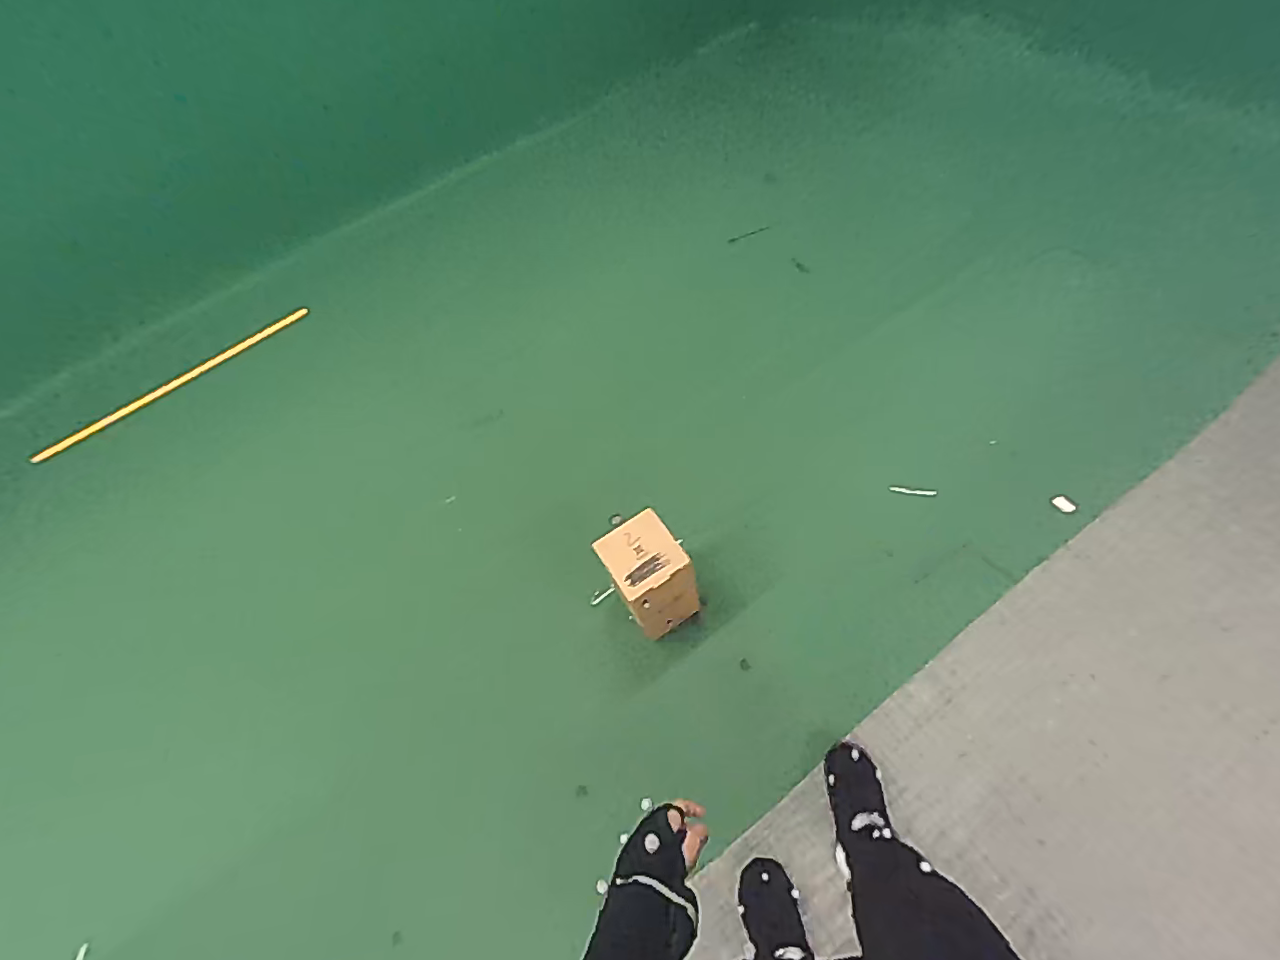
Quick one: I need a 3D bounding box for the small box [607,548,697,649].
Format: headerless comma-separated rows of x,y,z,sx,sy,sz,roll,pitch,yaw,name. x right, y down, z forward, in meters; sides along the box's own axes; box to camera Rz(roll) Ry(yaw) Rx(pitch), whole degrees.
0.035,0.319,1.435,0.168,0.176,0.179,-32,58,-10,small box
